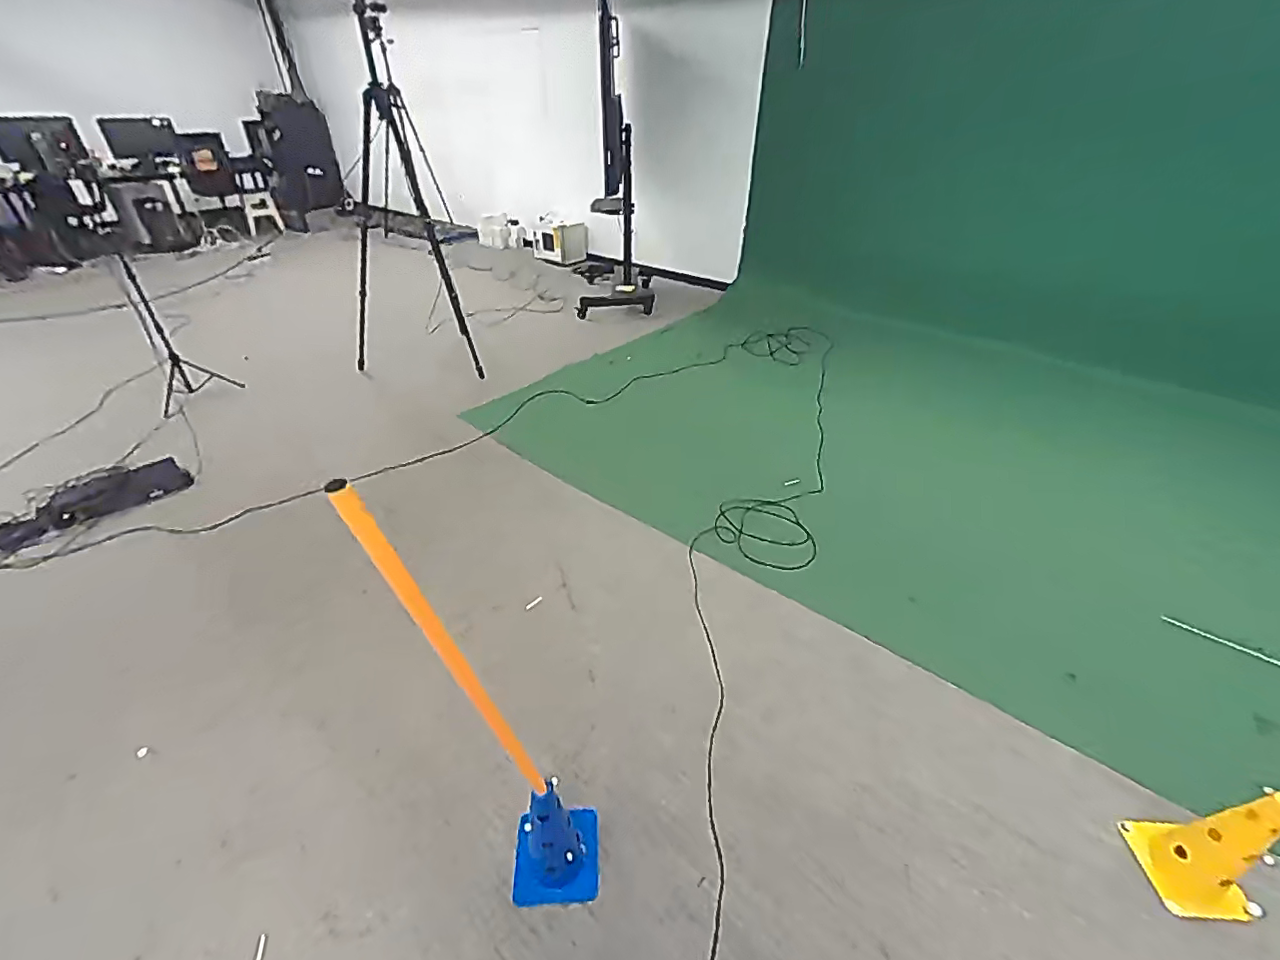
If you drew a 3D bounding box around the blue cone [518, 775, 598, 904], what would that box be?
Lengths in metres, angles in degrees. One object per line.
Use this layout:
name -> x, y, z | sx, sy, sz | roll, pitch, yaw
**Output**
blue cone -> -0.201, 0.772, 1.203 | 0.193, 0.380, 0.192 | -4, 38, -4
